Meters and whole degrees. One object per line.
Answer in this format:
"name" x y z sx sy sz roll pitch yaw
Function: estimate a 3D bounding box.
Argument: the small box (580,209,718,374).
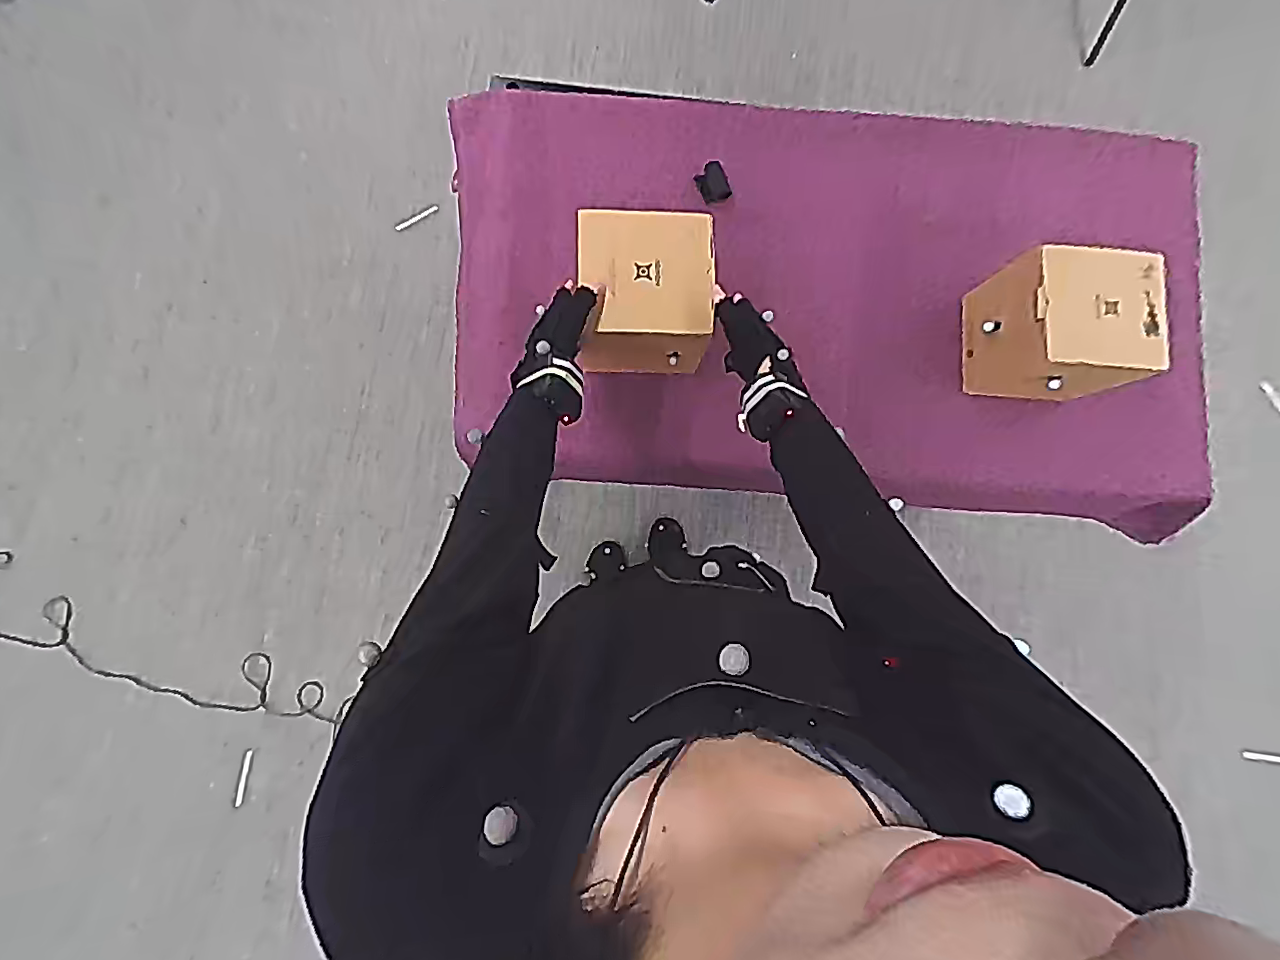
"small box" 0.007 -0.255 0.766 0.179 0.176 0.168 0 82 -3

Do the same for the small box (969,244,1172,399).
"small box" 0.615 -0.222 0.798 0.179 0.176 0.168 3 83 -2
